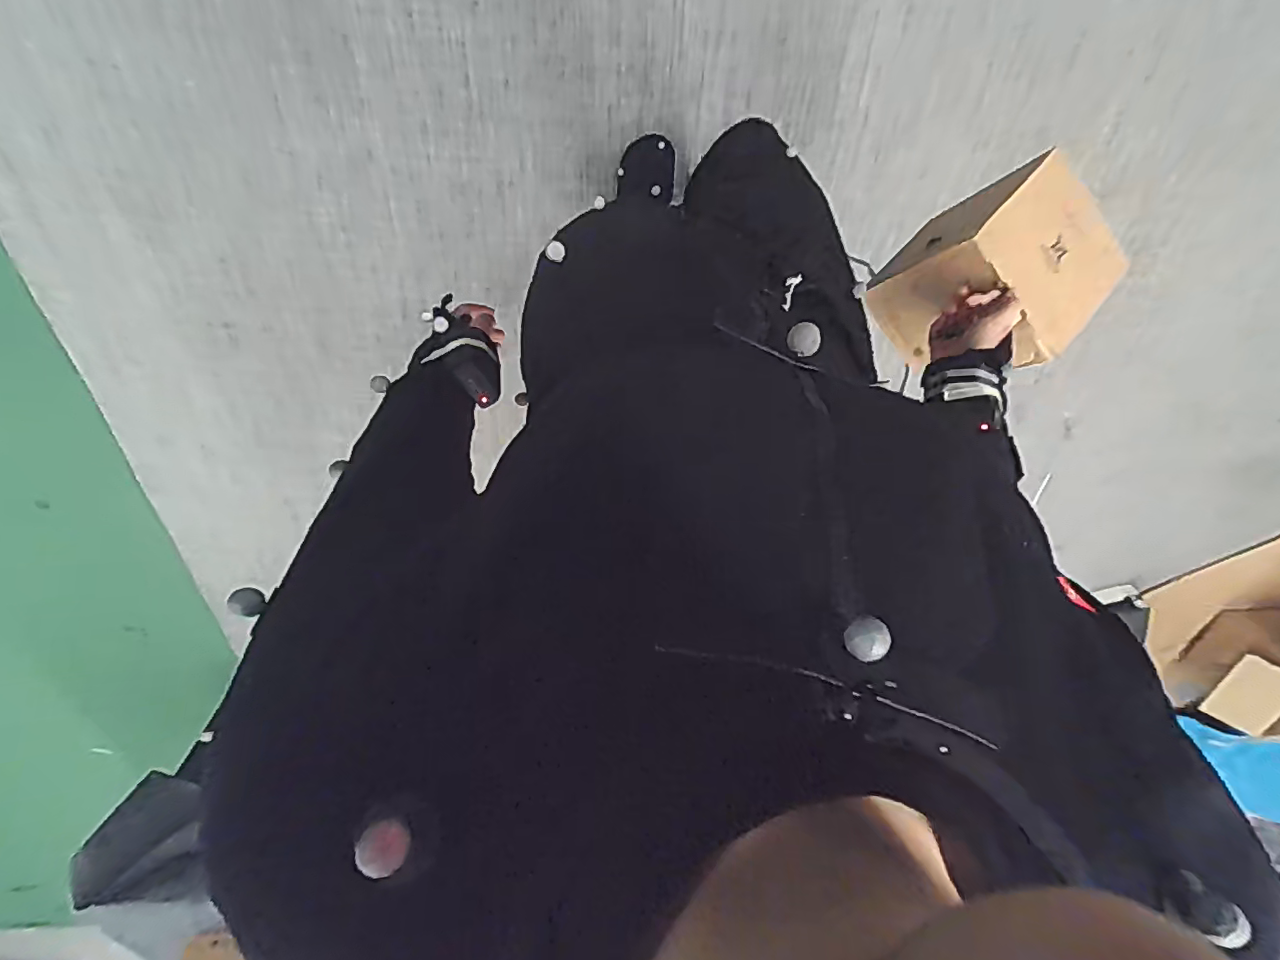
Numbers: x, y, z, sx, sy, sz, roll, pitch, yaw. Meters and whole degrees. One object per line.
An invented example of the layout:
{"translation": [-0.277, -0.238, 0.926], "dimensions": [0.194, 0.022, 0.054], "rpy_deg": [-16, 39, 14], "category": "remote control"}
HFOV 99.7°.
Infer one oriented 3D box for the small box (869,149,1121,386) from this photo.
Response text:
{"translation": [0.410, -0.237, 0.651], "dimensions": [0.179, 0.176, 0.168], "rpy_deg": [-46, 102, -17], "category": "small box"}
